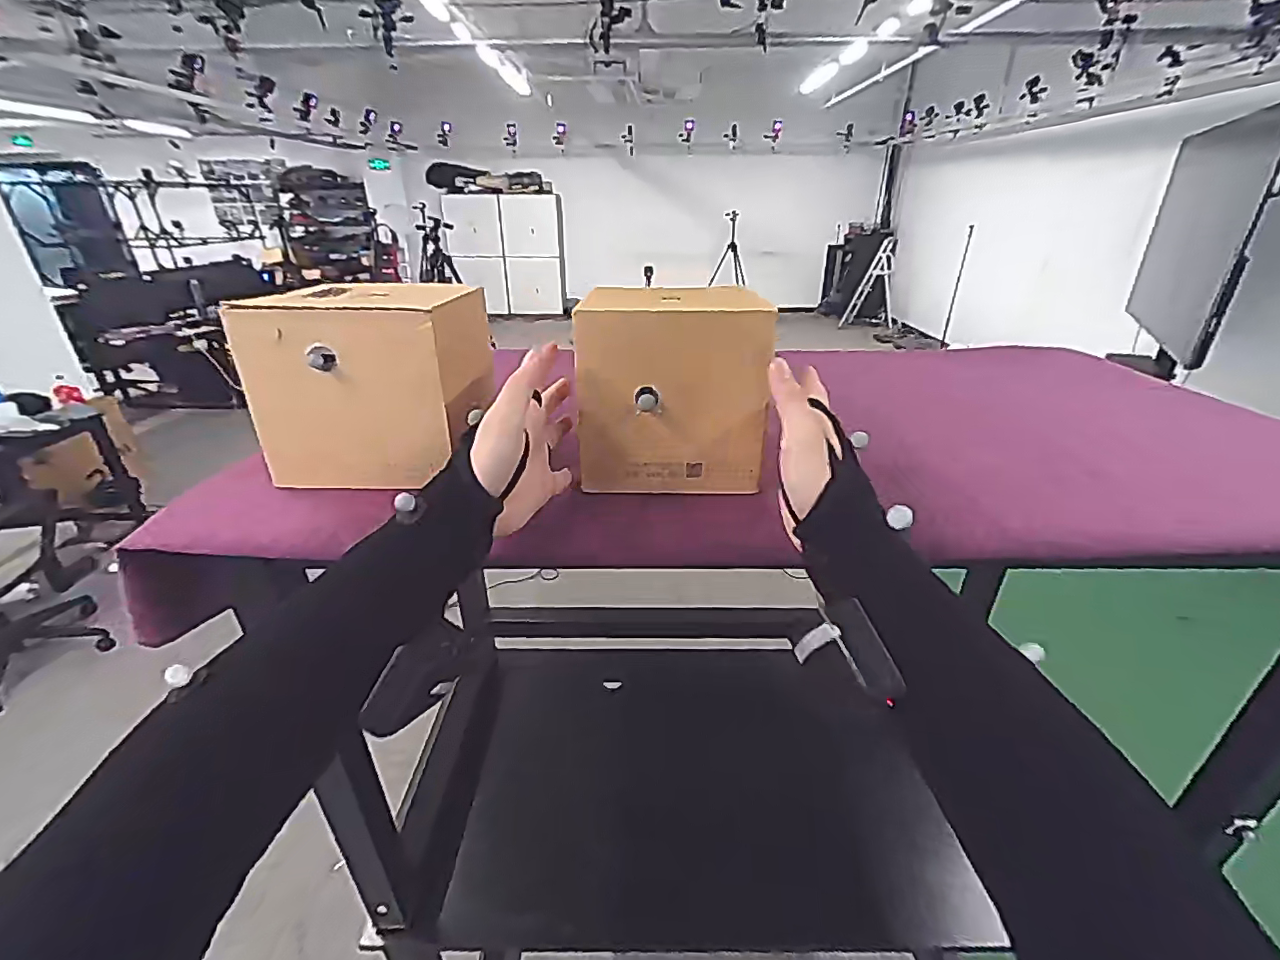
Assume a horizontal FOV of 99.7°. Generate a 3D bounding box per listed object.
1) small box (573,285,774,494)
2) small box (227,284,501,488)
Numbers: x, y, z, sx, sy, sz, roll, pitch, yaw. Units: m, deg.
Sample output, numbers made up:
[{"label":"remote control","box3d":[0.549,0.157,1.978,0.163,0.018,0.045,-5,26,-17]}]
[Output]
[{"label":"small box","box3d":[0.031,-0.094,0.538,0.168,0.176,0.179,0,25,1]},{"label":"small box","box3d":[-0.252,-0.100,0.545,0.179,0.176,0.168,1,26,1]}]
